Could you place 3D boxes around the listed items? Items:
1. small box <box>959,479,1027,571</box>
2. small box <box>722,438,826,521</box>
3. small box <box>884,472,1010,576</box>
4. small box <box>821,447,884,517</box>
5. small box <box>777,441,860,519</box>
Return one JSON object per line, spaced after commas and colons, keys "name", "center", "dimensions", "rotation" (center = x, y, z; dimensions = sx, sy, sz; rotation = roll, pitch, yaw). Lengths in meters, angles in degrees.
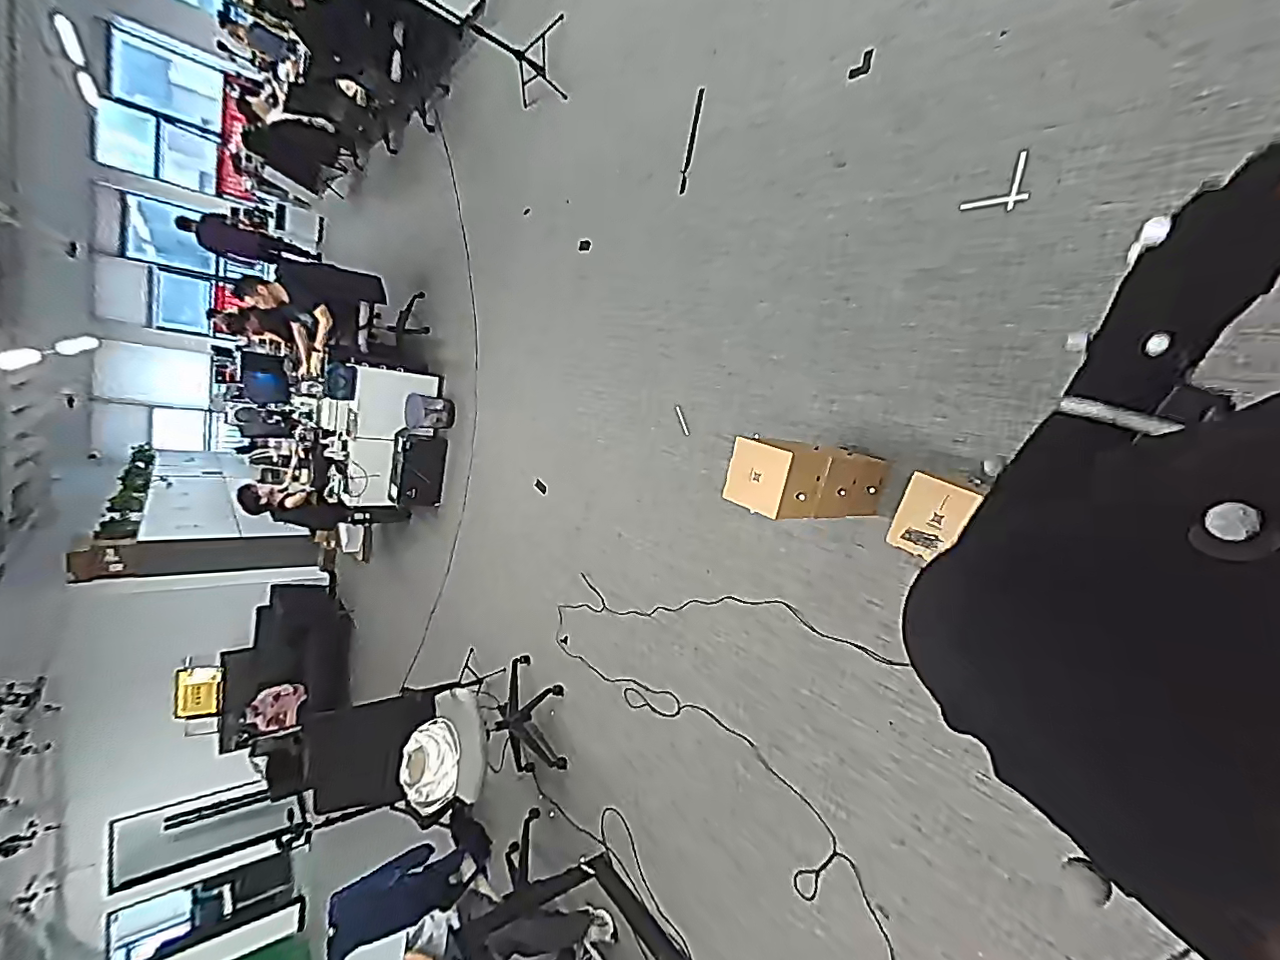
{"name": "small box", "center": [0.811, 0.101, 1.321], "dimensions": [0.168, 0.176, 0.179], "rotation": [30, 111, 46]}
{"name": "small box", "center": [0.340, -0.006, 1.367], "dimensions": [0.179, 0.176, 0.168], "rotation": [25, 108, 48]}
{"name": "small box", "center": [0.689, 0.094, 1.211], "dimensions": [0.168, 0.176, 0.179], "rotation": [32, 112, 45]}
{"name": "small box", "center": [0.584, 0.001, 1.586], "dimensions": [0.179, 0.176, 0.168], "rotation": [25, 107, 47]}
{"name": "small box", "center": [0.465, -0.003, 1.471], "dimensions": [0.179, 0.176, 0.168], "rotation": [28, 110, 47]}
